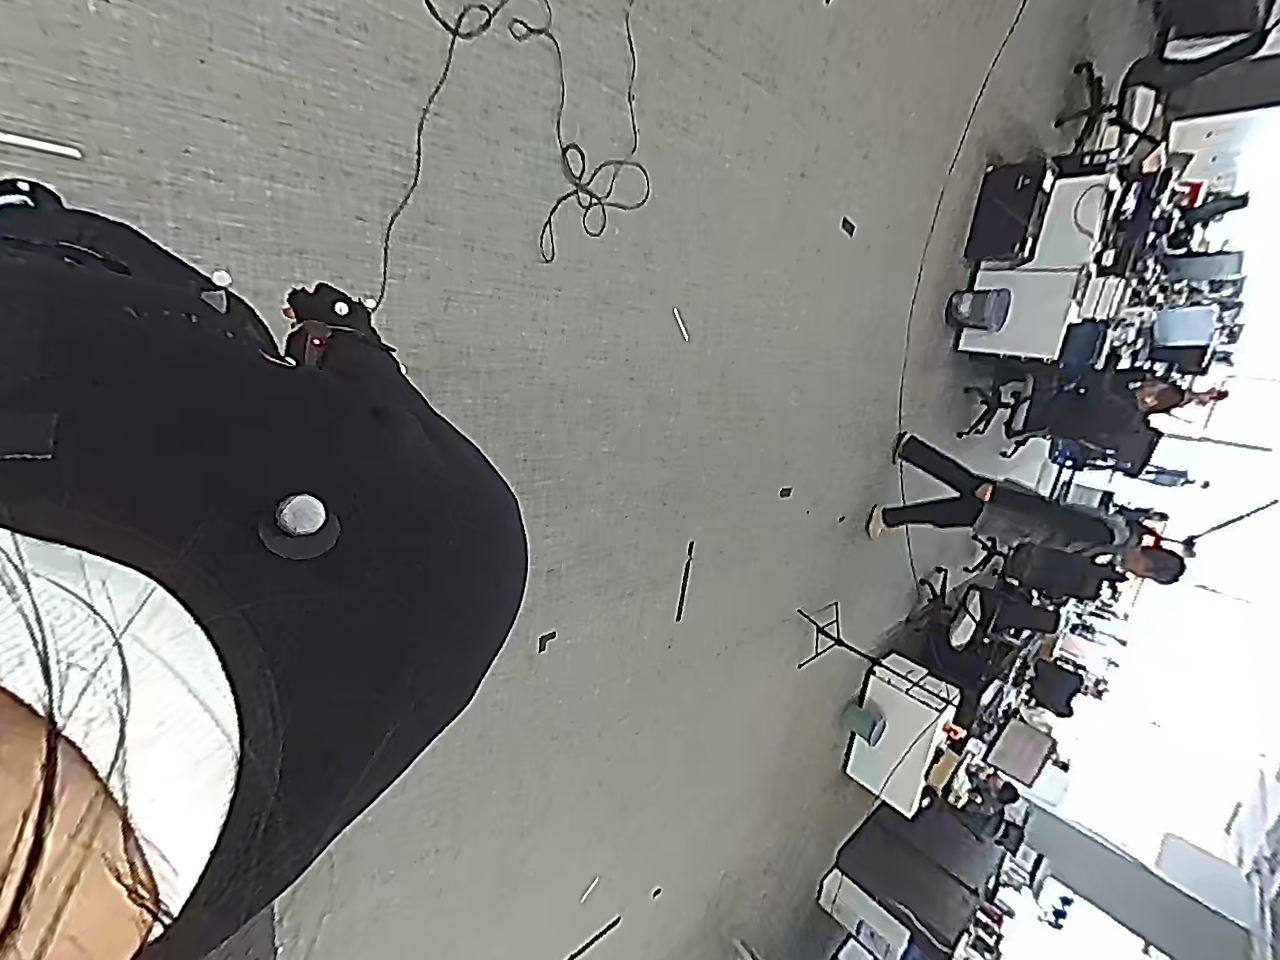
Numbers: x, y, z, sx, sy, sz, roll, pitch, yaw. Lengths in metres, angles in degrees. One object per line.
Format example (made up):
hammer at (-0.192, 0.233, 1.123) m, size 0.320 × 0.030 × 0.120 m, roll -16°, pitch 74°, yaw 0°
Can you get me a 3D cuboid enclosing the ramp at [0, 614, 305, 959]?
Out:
ramp at (-1.092, 0.841, 1.242) m, size 0.509 × 0.206 × 0.991 m, roll -8°, pitch 110°, yaw -40°
